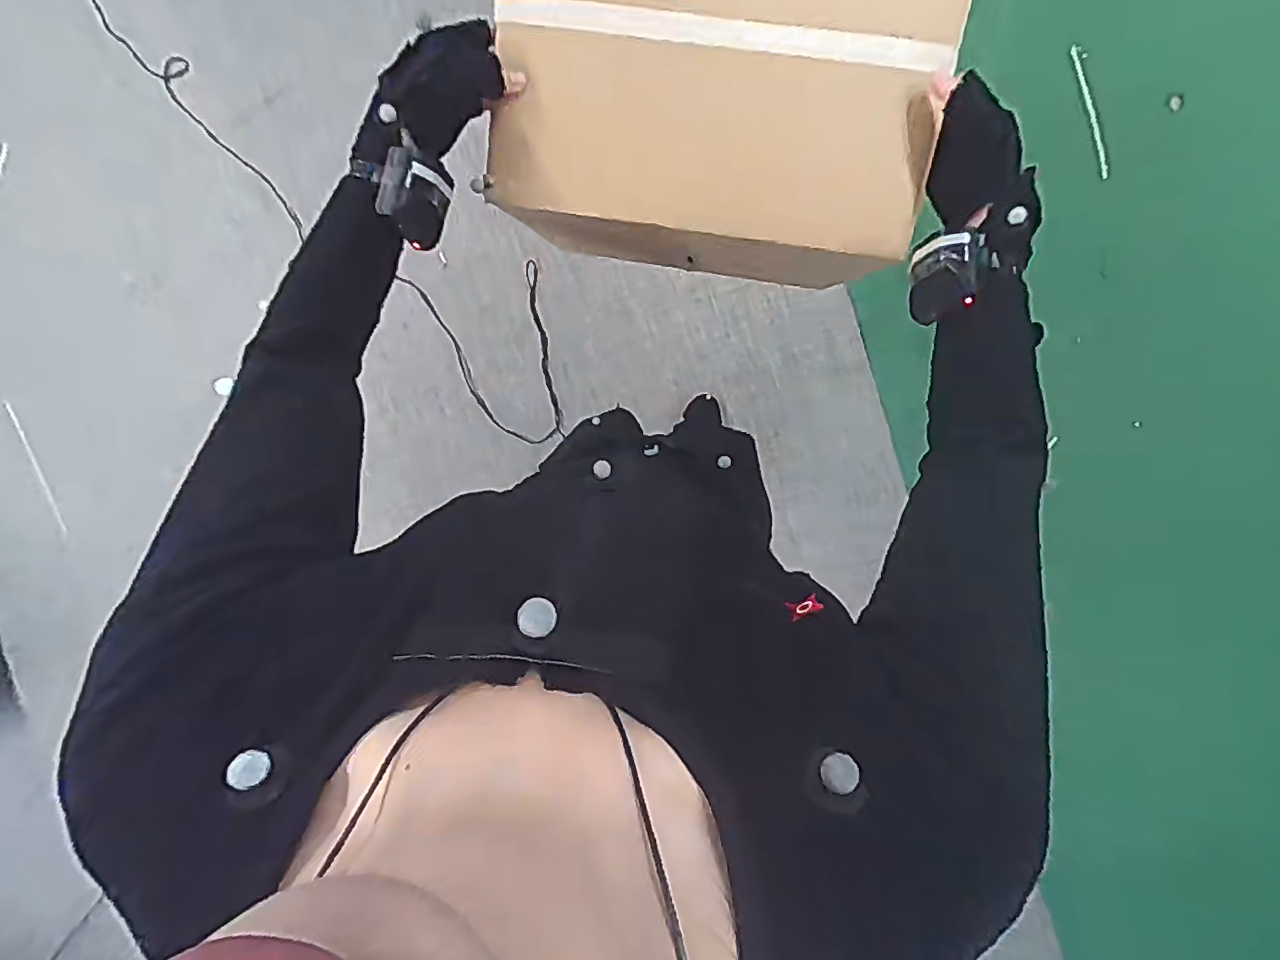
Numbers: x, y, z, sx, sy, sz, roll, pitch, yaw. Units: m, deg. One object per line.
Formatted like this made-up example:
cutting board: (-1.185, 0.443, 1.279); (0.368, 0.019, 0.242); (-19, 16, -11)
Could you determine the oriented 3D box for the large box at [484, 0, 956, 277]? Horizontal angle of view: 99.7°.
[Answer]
large box: (0.079, -0.426, 0.616); (0.408, 0.320, 0.320); (9, 105, 3)
